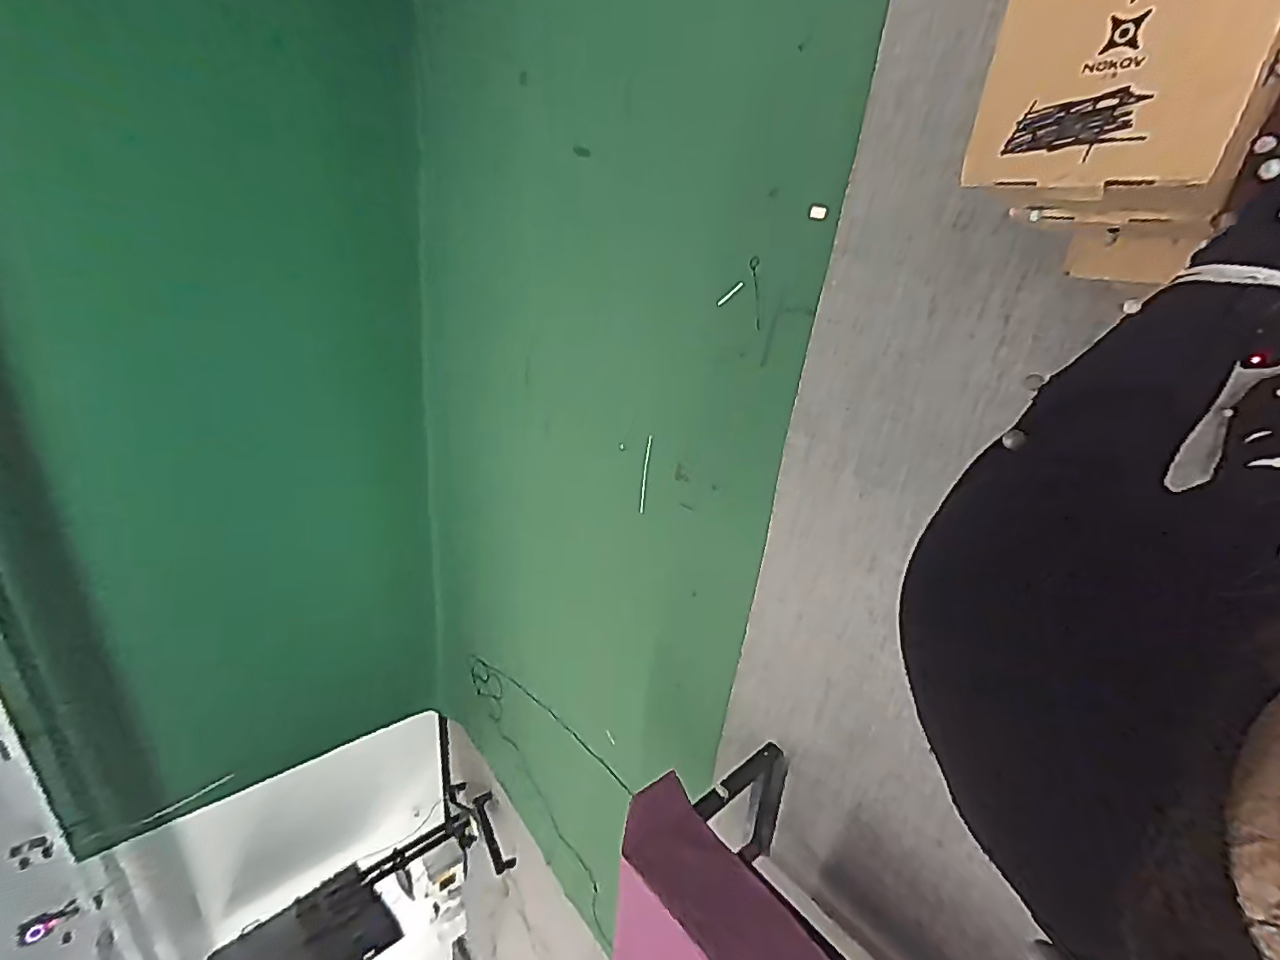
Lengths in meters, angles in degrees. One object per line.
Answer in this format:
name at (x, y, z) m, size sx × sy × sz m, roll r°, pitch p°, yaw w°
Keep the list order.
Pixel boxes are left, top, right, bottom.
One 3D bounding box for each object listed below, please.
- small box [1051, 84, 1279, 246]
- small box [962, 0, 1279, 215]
small box at (0.647, -0.388, 0.655) m, size 0.168 × 0.176 × 0.179 m, roll 29°, pitch 122°, yaw 40°
small box at (0.404, -0.323, 0.443) m, size 0.168 × 0.176 × 0.179 m, roll 27°, pitch 119°, yaw 41°
